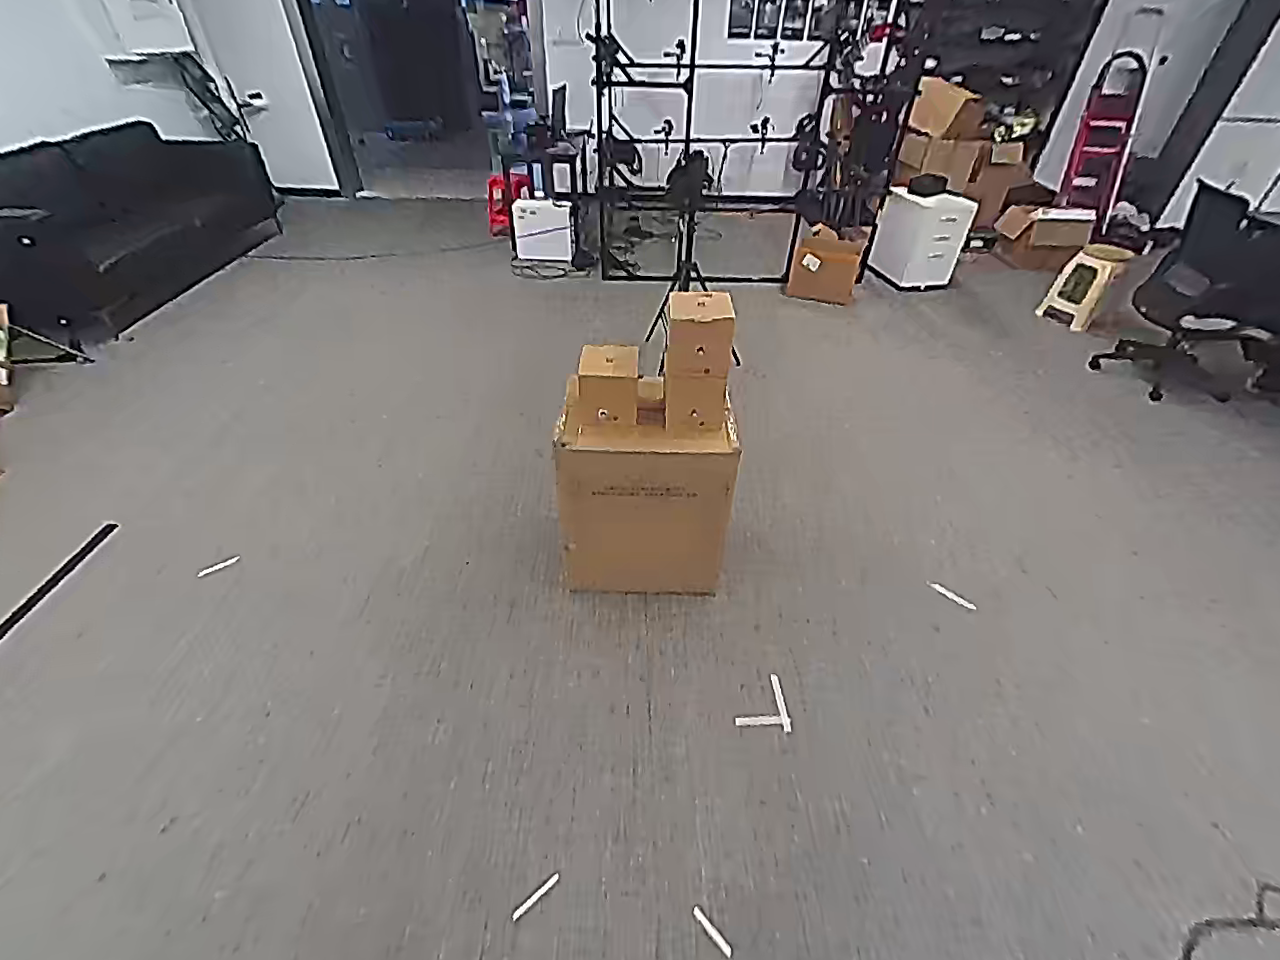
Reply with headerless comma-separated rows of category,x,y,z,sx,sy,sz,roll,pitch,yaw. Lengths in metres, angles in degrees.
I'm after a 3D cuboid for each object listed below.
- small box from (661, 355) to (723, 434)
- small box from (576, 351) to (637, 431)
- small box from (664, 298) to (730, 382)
small box,0.145,-0.251,1.574,0.168,0.176,0.179,0,40,0
small box,-0.094,-0.261,1.582,0.168,0.176,0.179,0,41,-1
small box,0.150,-0.380,1.472,0.168,0.176,0.179,0,41,1
